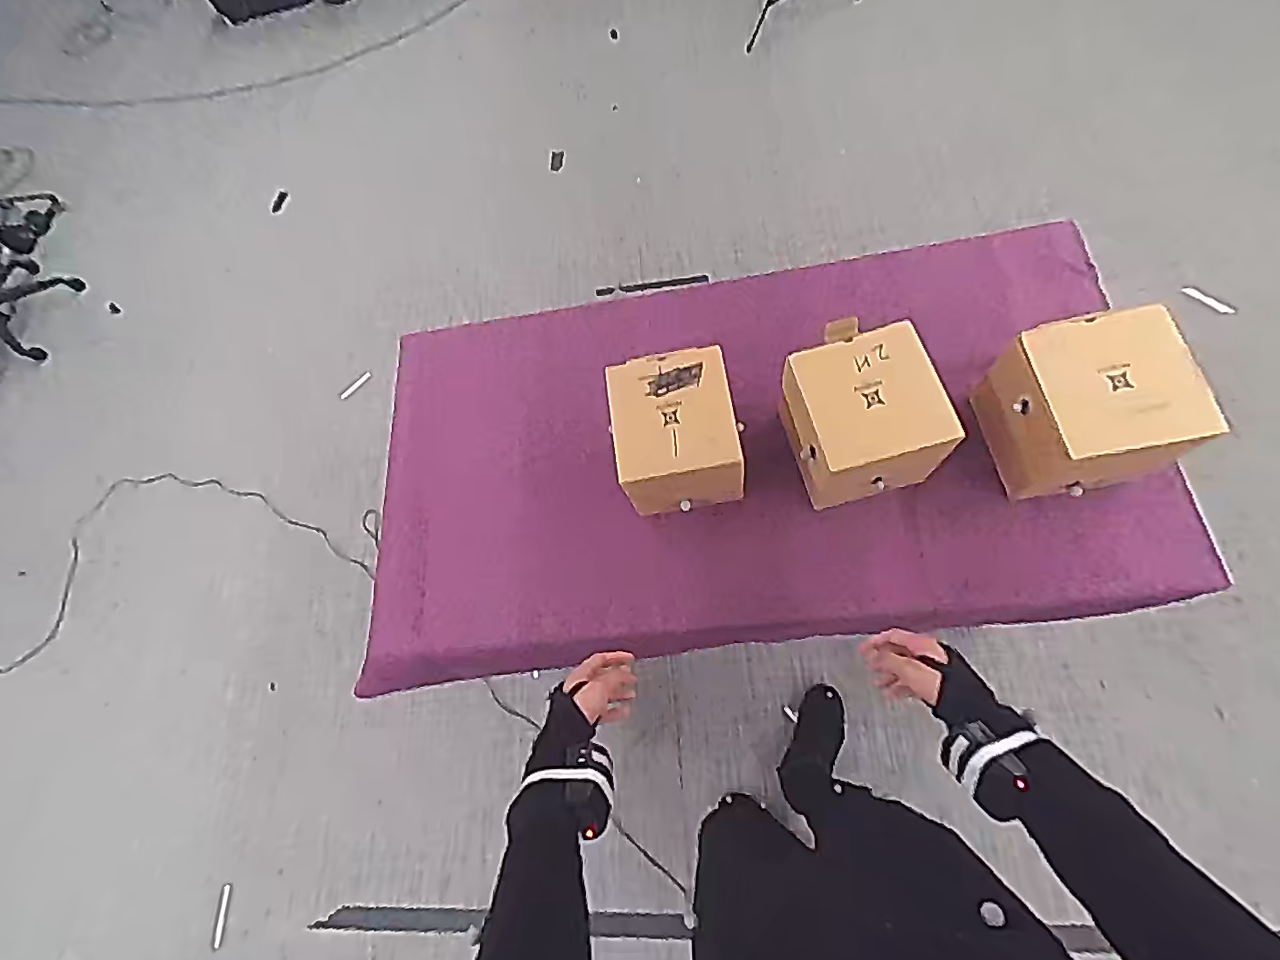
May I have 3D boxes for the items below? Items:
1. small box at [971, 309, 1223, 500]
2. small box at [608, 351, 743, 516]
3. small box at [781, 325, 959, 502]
[{"bbox_3d":[0.573,-0.090,0.714,0.168,0.176,0.179,-10,68,8],"label":"small box"},{"bbox_3d":[0.055,-0.061,0.803,0.168,0.176,0.179,-10,70,7],"label":"small box"},{"bbox_3d":[0.306,-0.080,0.761,0.168,0.176,0.179,-15,68,5],"label":"small box"}]
